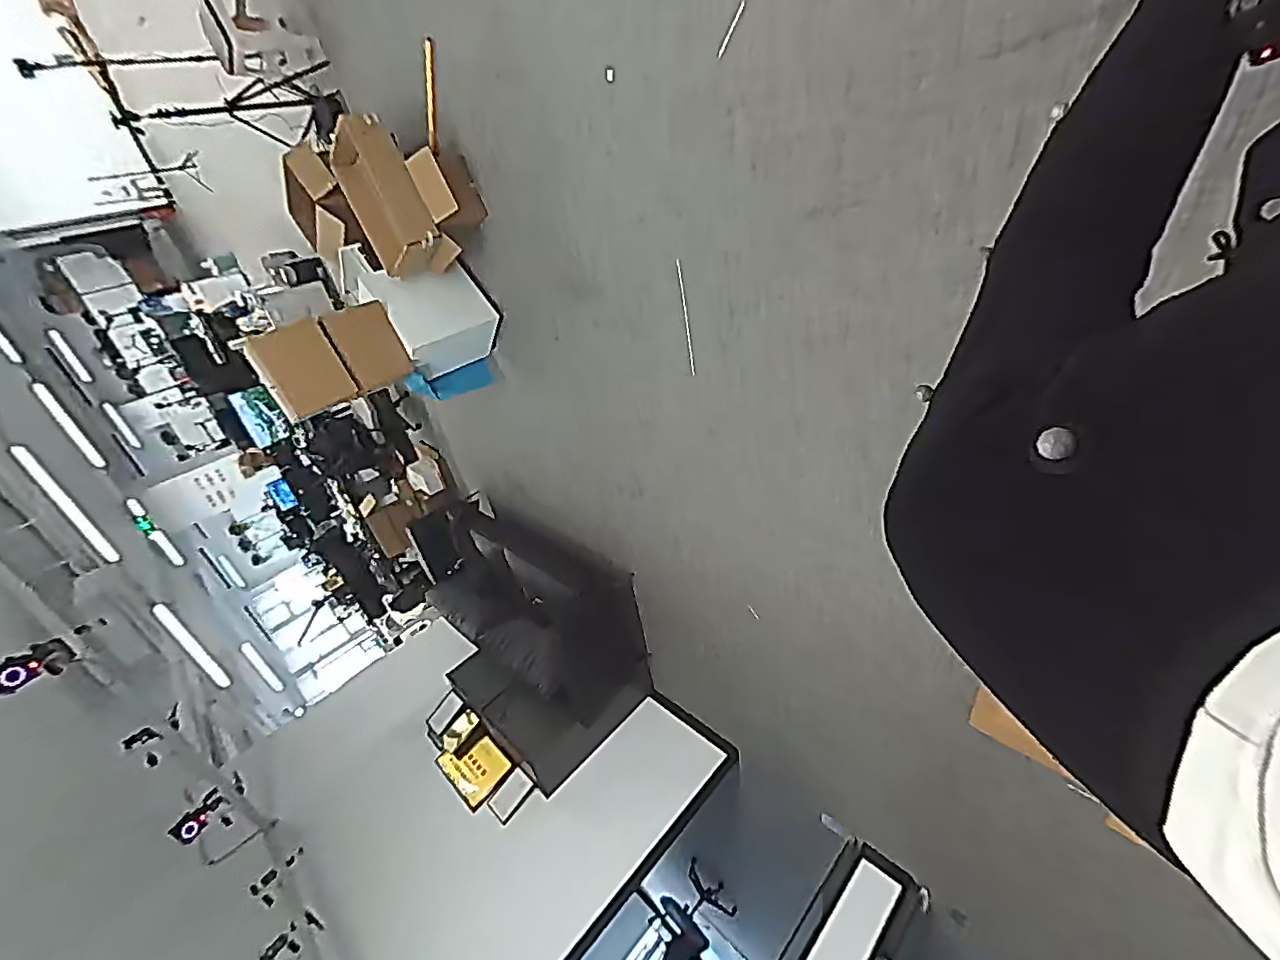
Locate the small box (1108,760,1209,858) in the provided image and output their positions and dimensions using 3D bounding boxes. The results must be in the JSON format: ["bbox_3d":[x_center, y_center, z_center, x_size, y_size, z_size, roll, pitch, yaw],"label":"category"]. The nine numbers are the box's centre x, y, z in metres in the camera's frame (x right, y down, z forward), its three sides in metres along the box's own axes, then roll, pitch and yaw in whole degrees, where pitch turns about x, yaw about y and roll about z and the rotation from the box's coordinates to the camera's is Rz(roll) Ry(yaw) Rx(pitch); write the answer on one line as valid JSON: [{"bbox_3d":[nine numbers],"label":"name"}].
[{"bbox_3d":[1.604,1.006,1.673,0.179,0.176,0.168,23,136,39],"label":"small box"}]
